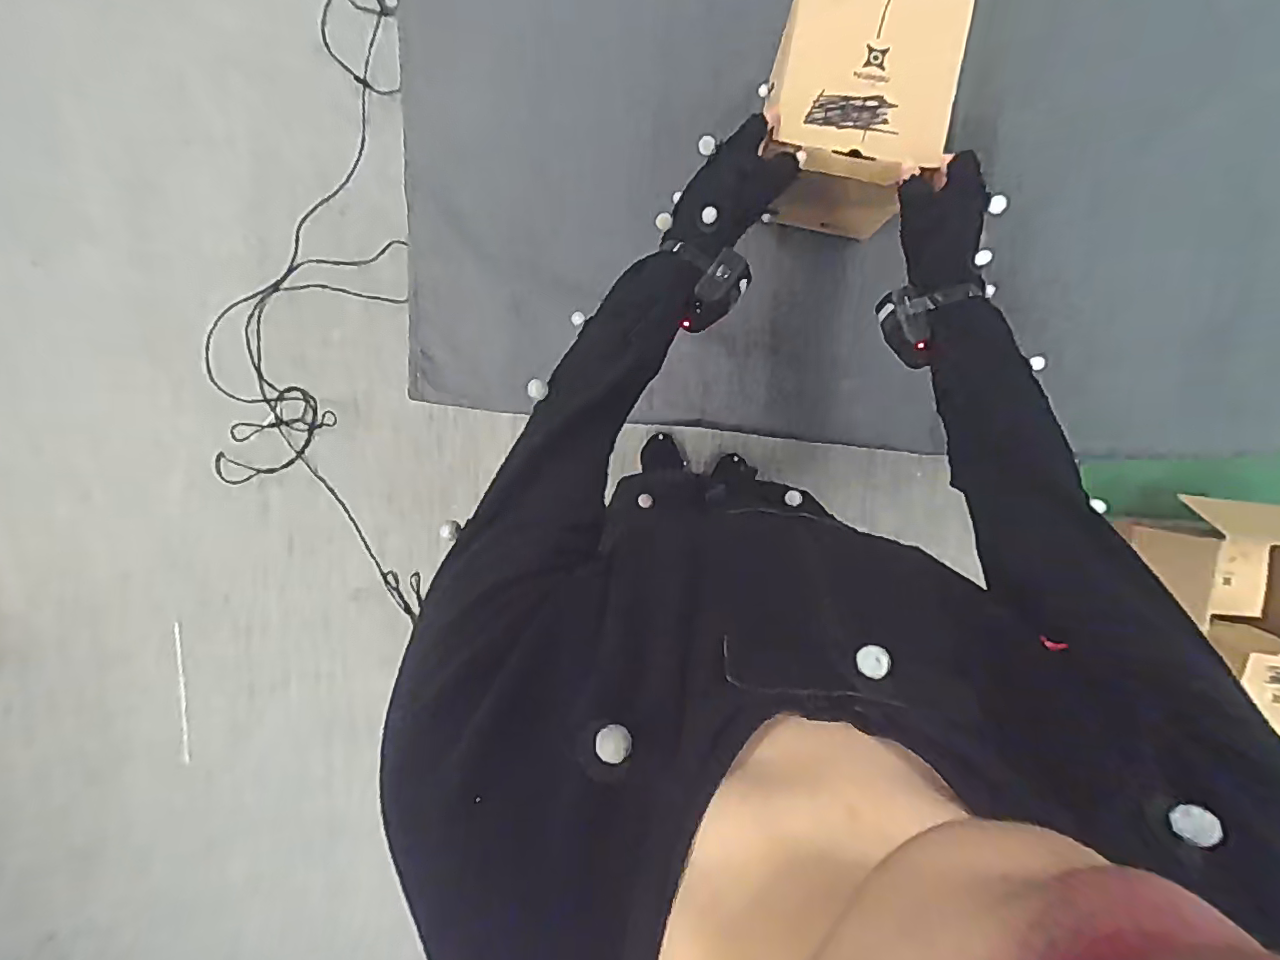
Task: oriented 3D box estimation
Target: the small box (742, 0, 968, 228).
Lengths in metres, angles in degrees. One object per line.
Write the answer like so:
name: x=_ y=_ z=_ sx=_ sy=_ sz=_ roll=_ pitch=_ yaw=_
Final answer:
small box: x=0.217 y=-0.405 z=0.597 sx=0.168 sy=0.176 sz=0.179 roll=12 pitch=95 yaw=1
